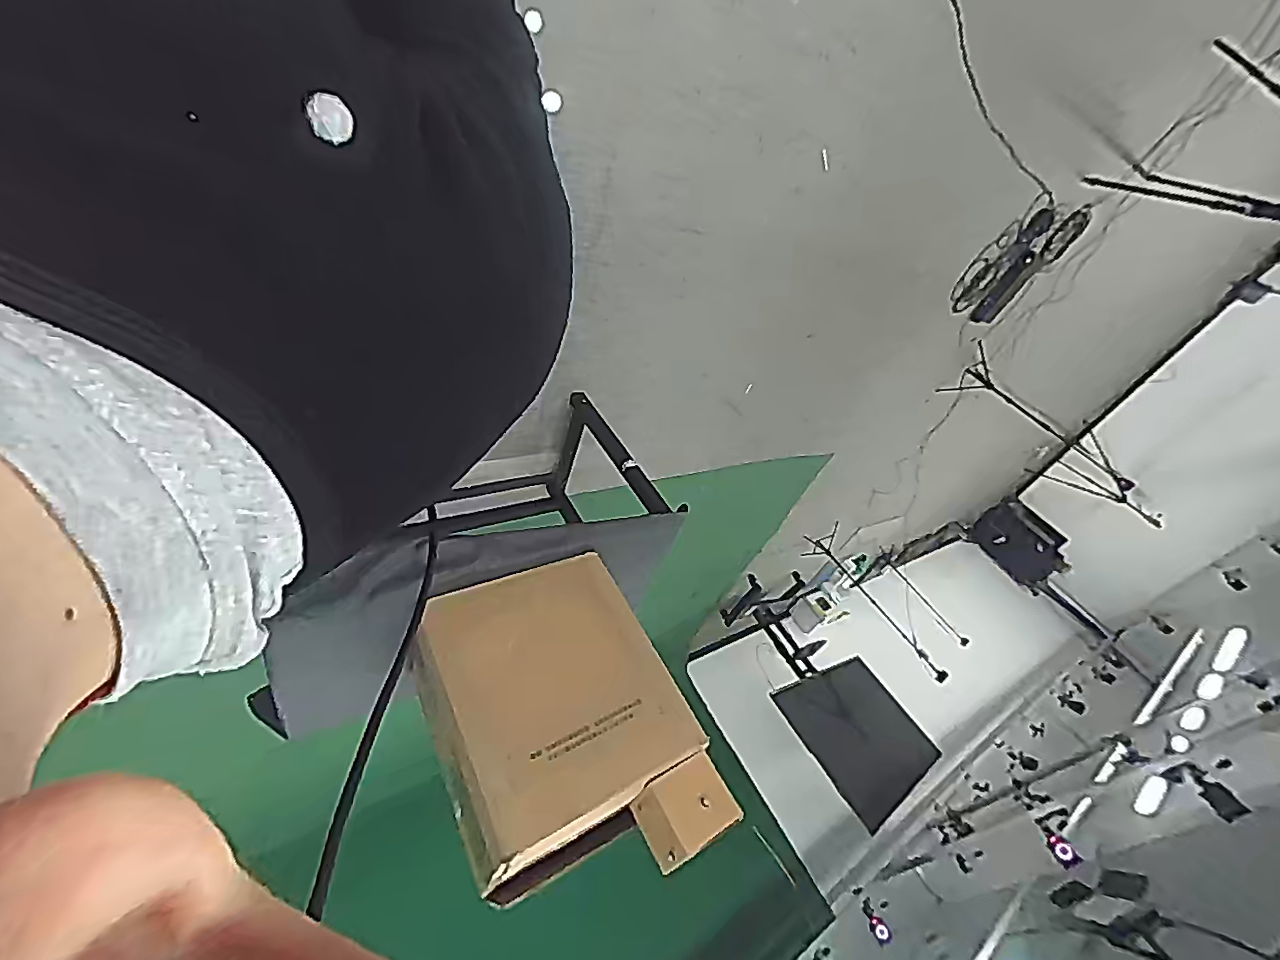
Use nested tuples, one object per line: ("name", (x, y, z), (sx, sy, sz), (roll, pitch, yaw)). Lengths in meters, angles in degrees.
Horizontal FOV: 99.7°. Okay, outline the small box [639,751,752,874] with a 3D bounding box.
("small box", (0.127, 0.790, 1.299), (0.179, 0.176, 0.168), (-15, 141, -35))
